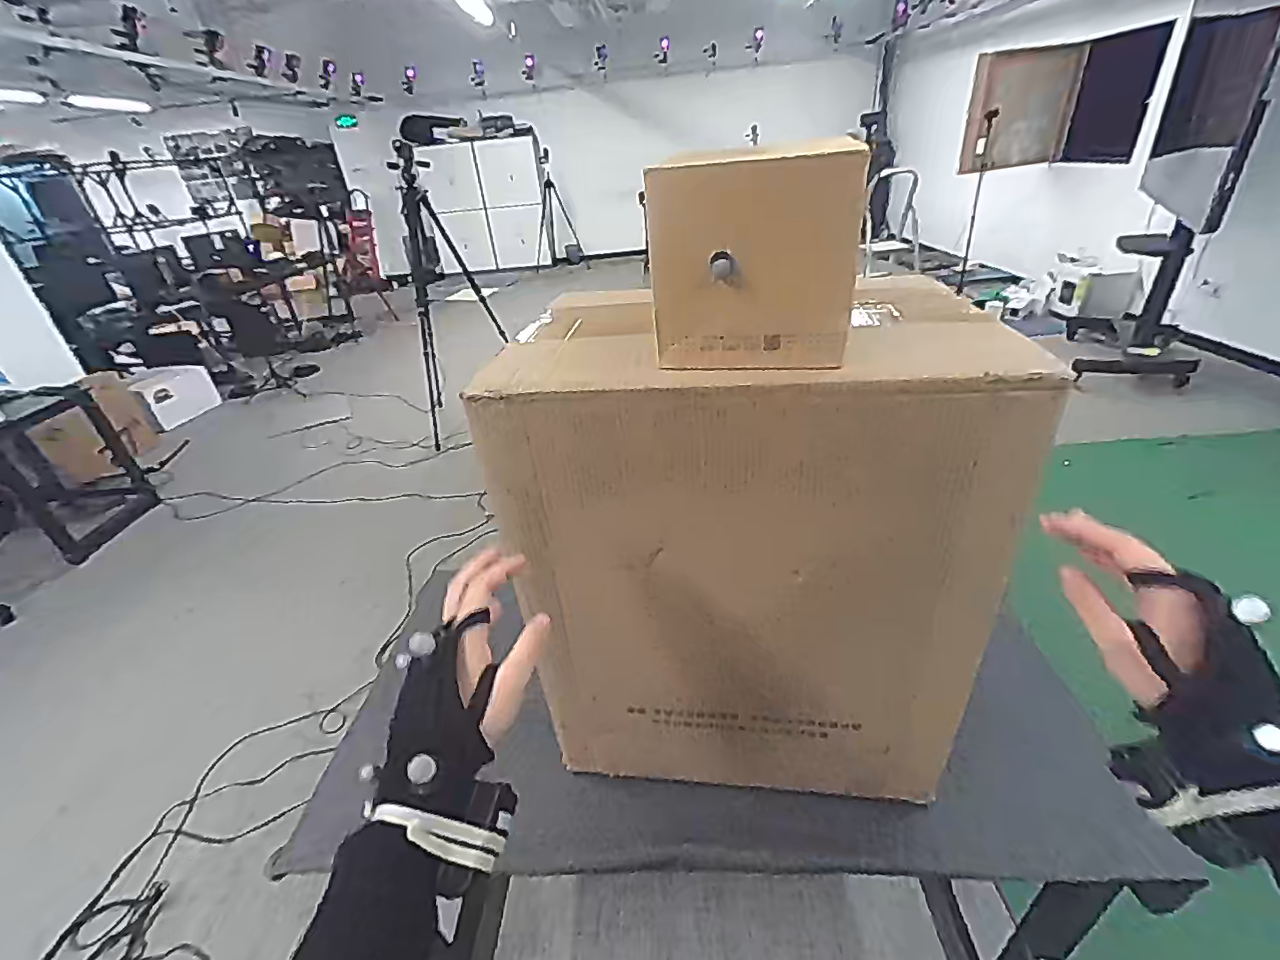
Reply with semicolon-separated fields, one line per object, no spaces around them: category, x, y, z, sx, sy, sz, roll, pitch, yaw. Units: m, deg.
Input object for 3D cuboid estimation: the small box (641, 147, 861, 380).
small box;0.105;-0.202;0.510;0.168;0.176;0.179;2;34;13
